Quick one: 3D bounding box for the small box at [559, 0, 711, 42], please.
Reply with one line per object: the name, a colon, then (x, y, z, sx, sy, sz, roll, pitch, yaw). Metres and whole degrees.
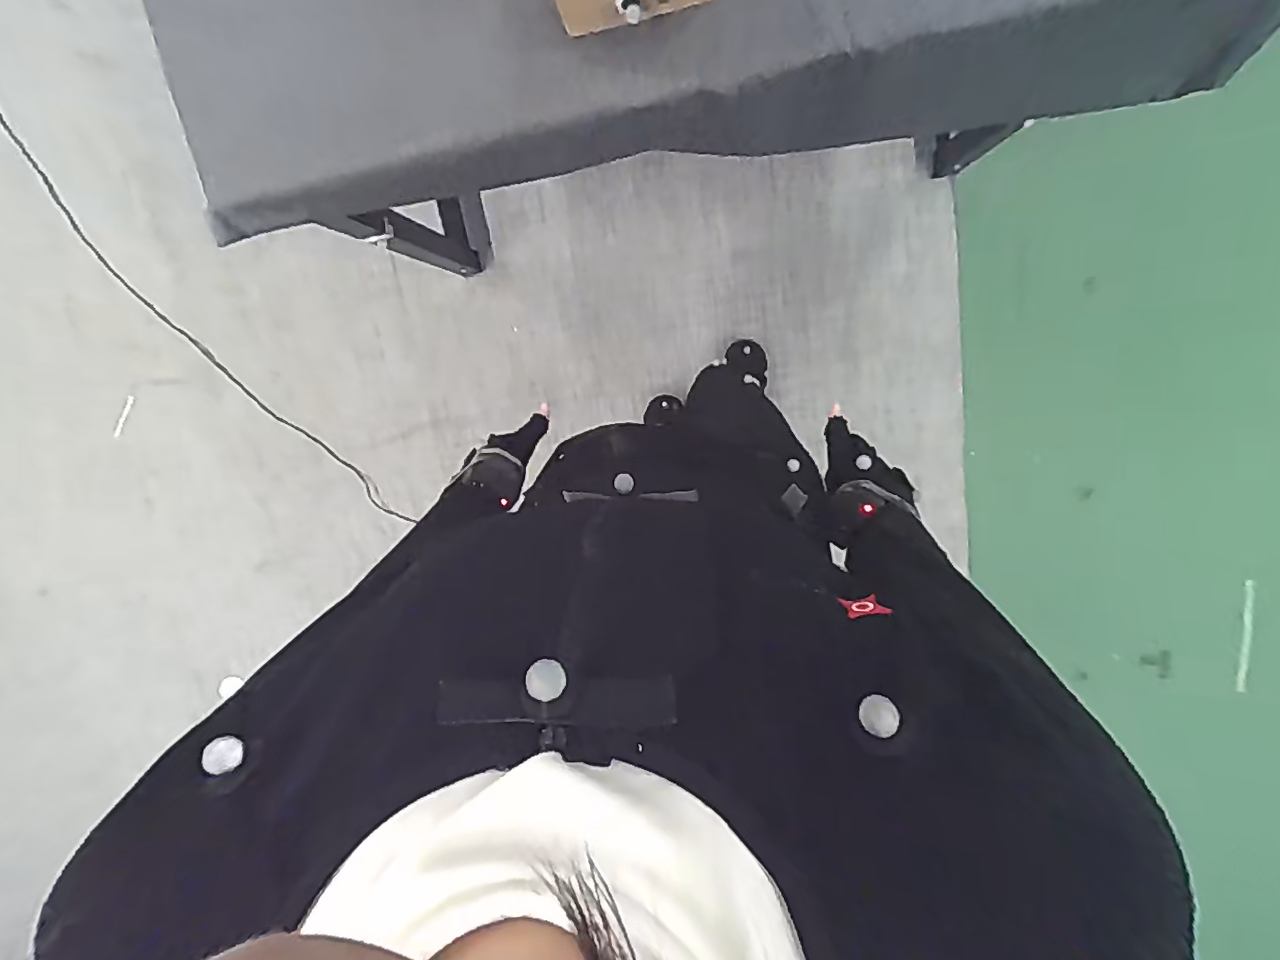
small box: (-0.021, -0.557, 0.488, 0.168, 0.176, 0.179, -11, 101, 9)
